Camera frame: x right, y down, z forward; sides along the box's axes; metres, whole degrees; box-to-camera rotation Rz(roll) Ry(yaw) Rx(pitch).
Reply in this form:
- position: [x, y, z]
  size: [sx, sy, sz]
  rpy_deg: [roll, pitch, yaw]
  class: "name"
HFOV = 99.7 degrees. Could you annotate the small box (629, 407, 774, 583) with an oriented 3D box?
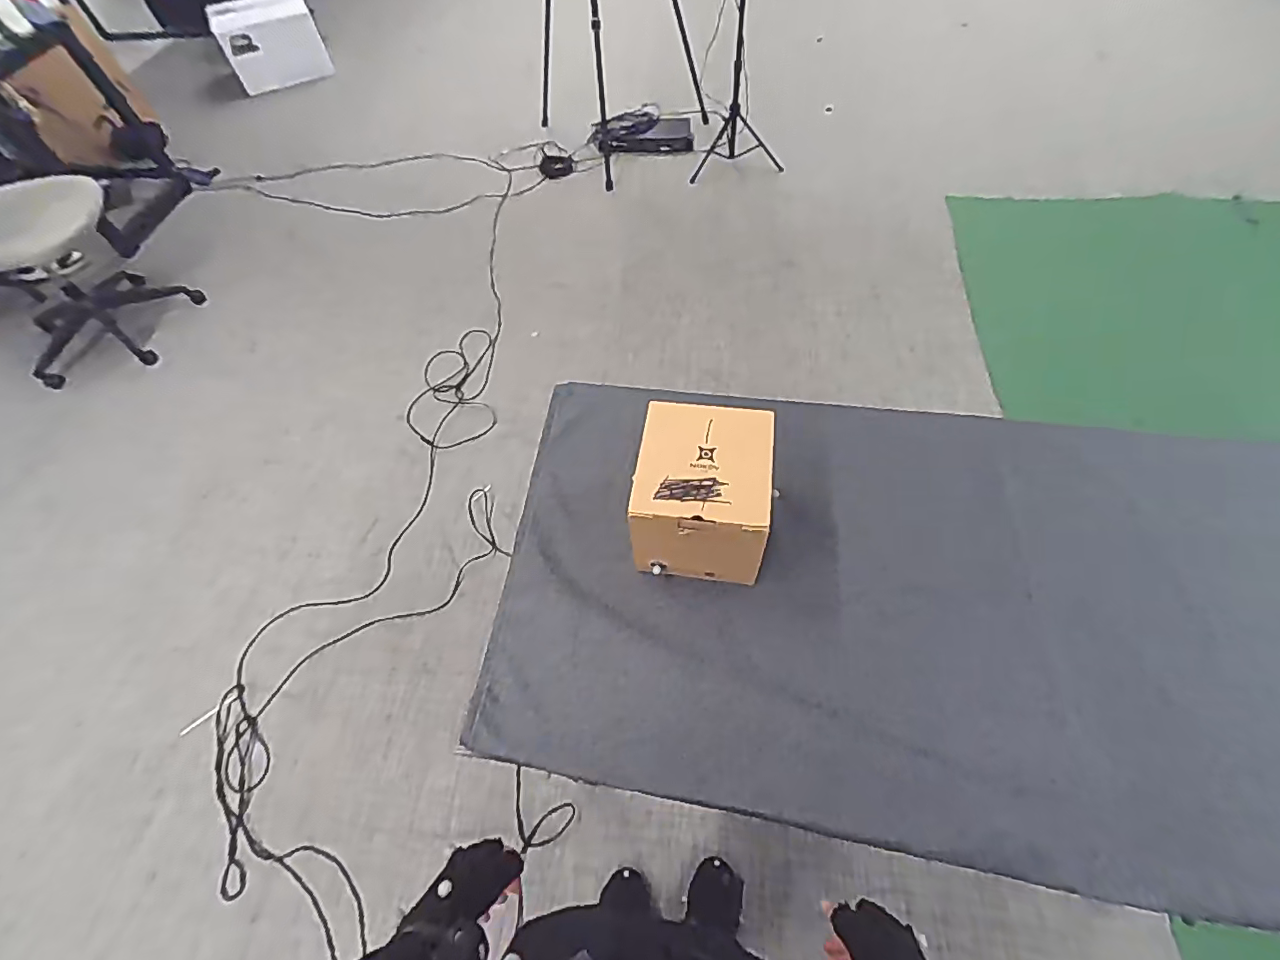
- position: [0.086, 0.025, 0.737]
  size: [0.168, 0.176, 0.179]
  rpy_deg: [6, 57, 8]
  class: "small box"
